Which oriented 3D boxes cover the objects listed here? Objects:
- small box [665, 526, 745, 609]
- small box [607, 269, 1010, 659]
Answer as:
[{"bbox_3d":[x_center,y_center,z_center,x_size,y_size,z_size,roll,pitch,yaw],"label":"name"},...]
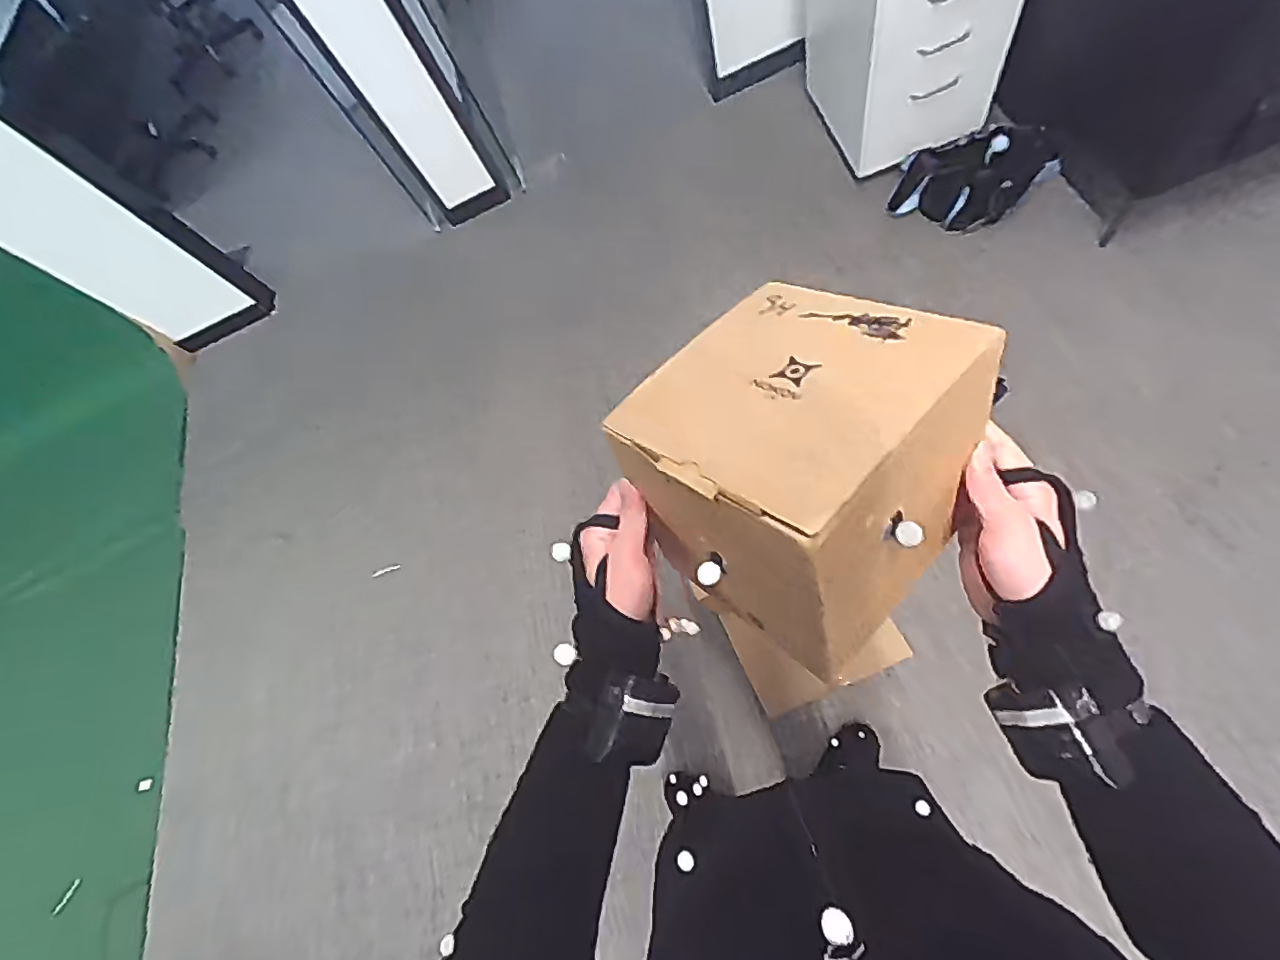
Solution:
[{"bbox_3d":[0.175,0.153,1.119,0.179,0.176,0.168,-25,64,9],"label":"small box"},{"bbox_3d":[0.113,-0.014,0.370,0.179,0.176,0.168,-42,47,-18],"label":"small box"}]
